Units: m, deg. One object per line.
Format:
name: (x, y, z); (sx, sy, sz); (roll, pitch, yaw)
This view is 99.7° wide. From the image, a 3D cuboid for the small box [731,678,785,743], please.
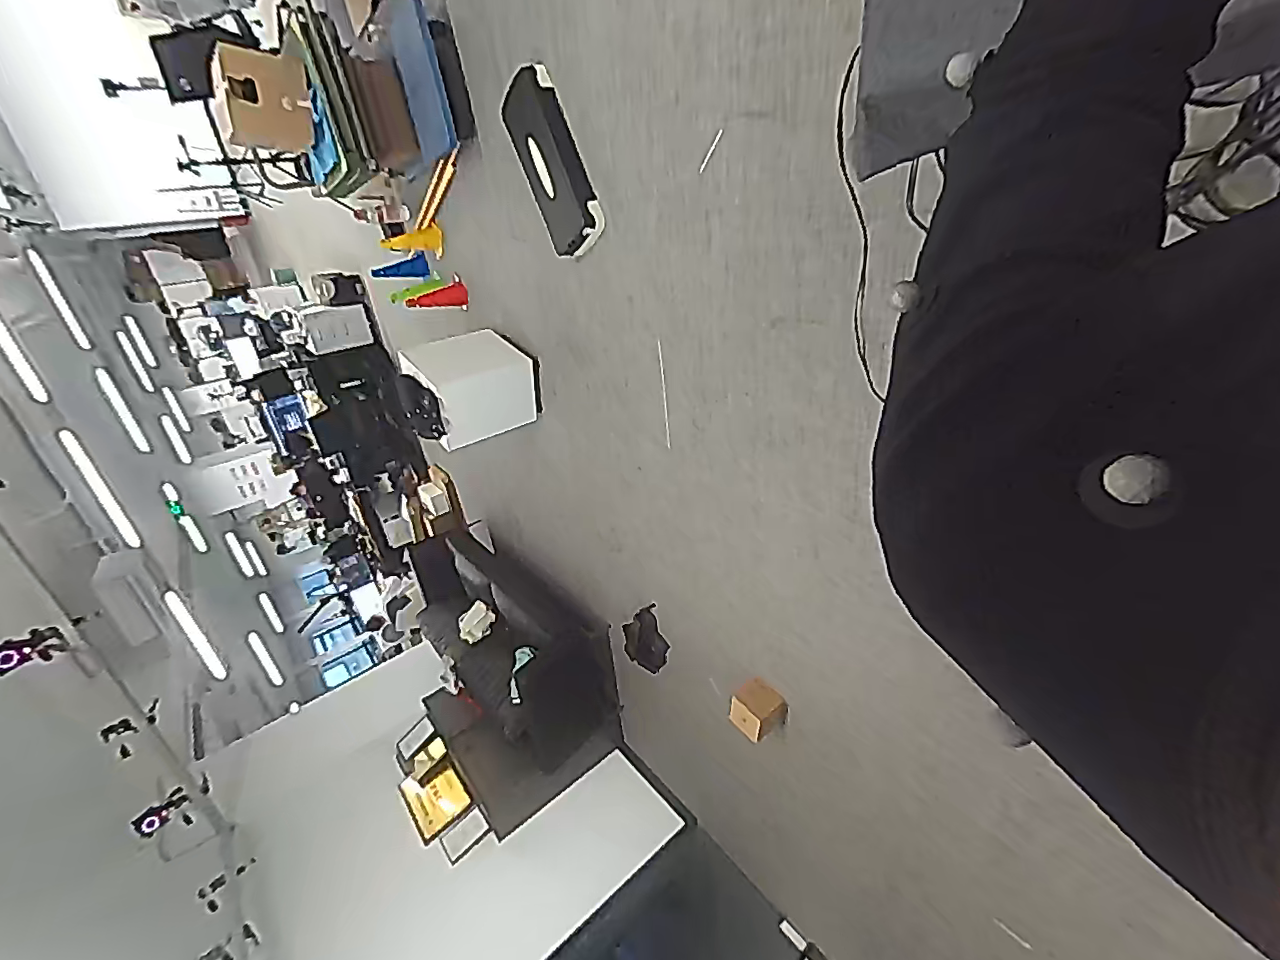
small box: (0.537, 1.038, 2.450); (0.168, 0.176, 0.179); (34, 138, 42)
